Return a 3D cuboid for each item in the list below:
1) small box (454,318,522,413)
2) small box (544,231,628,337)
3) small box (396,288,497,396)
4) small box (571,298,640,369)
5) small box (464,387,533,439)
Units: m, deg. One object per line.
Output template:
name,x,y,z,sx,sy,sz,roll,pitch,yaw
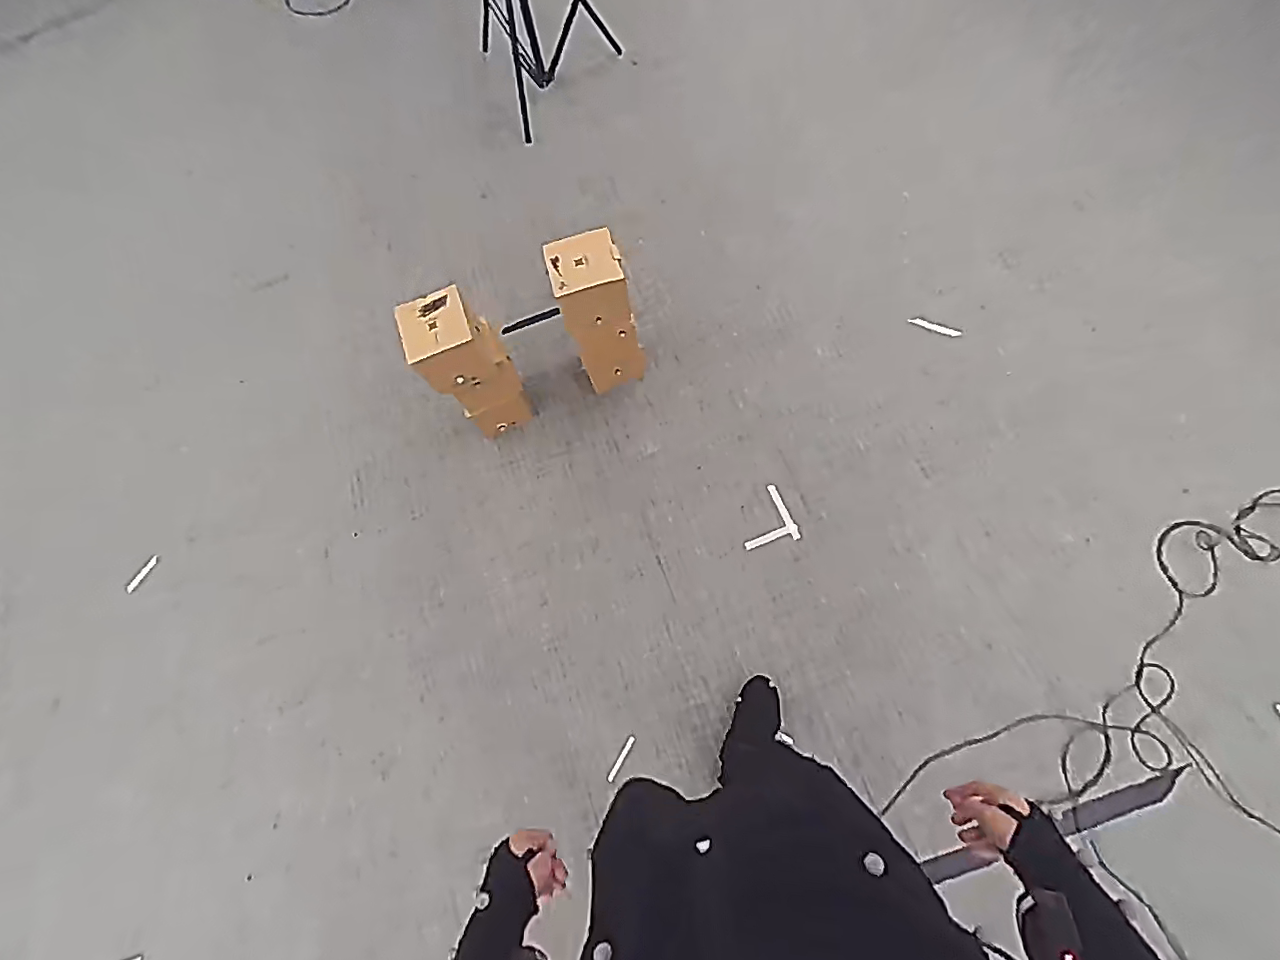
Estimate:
small box,-0.461,-0.317,1.533,0.179,0.176,0.168,-25,70,-2
small box,-0.131,-0.496,1.386,0.179,0.176,0.168,-16,70,-1
small box,-0.484,-0.343,1.370,0.168,0.176,0.179,-22,71,0
small box,-0.108,-0.439,1.538,0.179,0.176,0.168,-15,70,0
small box,-0.455,-0.256,1.686,0.168,0.176,0.179,-24,71,-2
